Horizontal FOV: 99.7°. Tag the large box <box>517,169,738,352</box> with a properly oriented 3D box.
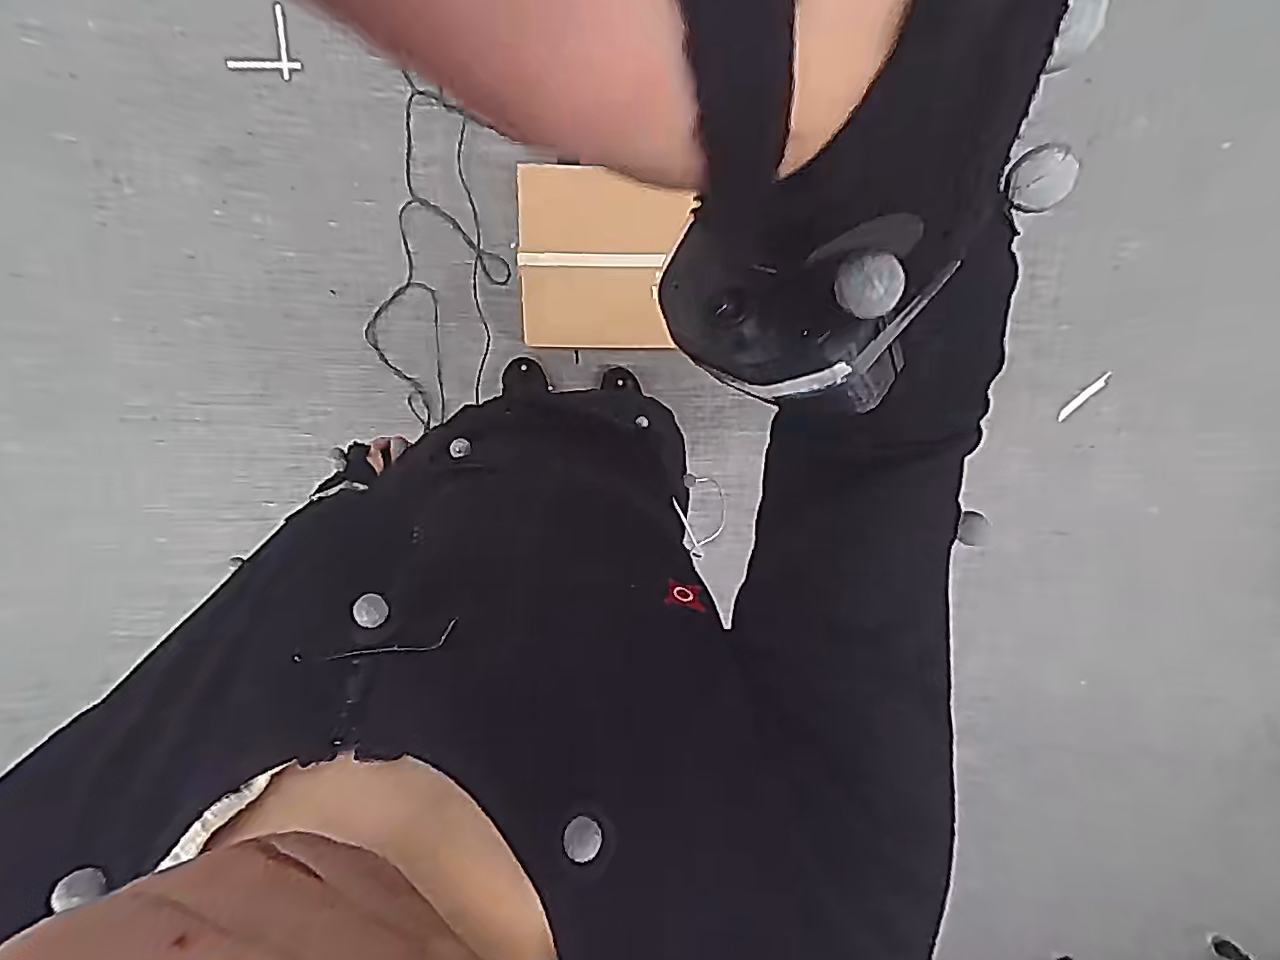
[{"bbox_3d":[-0.030,-0.433,1.140,0.408,0.320,0.320,-1,103,-3],"label":"large box"}]
